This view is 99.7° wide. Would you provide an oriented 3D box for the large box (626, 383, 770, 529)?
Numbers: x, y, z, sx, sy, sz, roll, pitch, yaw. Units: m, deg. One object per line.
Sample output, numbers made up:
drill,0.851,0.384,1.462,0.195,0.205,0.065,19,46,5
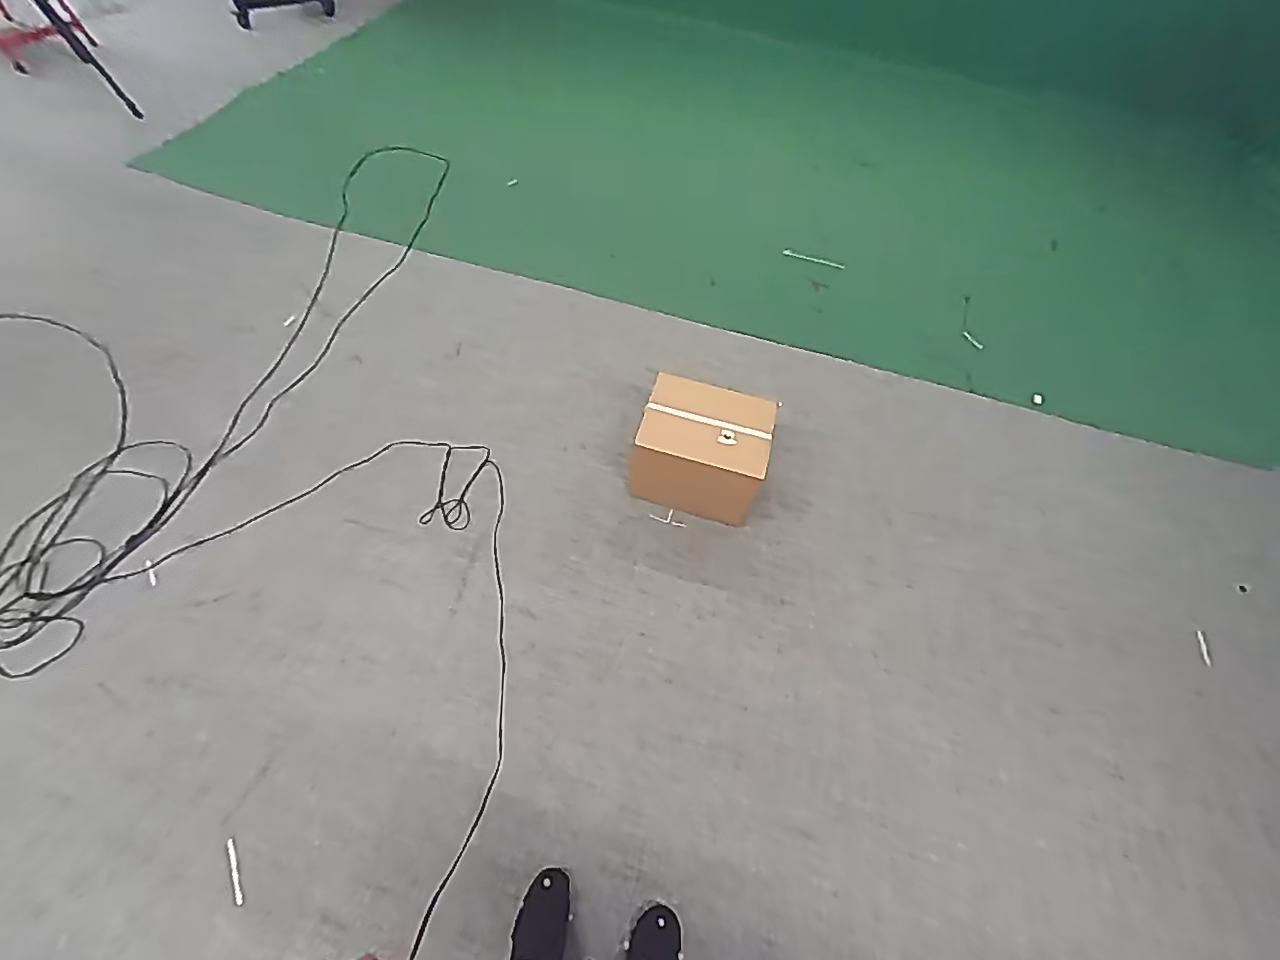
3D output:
large box,0.189,-0.076,1.833,0.408,0.320,0.320,15,57,4
